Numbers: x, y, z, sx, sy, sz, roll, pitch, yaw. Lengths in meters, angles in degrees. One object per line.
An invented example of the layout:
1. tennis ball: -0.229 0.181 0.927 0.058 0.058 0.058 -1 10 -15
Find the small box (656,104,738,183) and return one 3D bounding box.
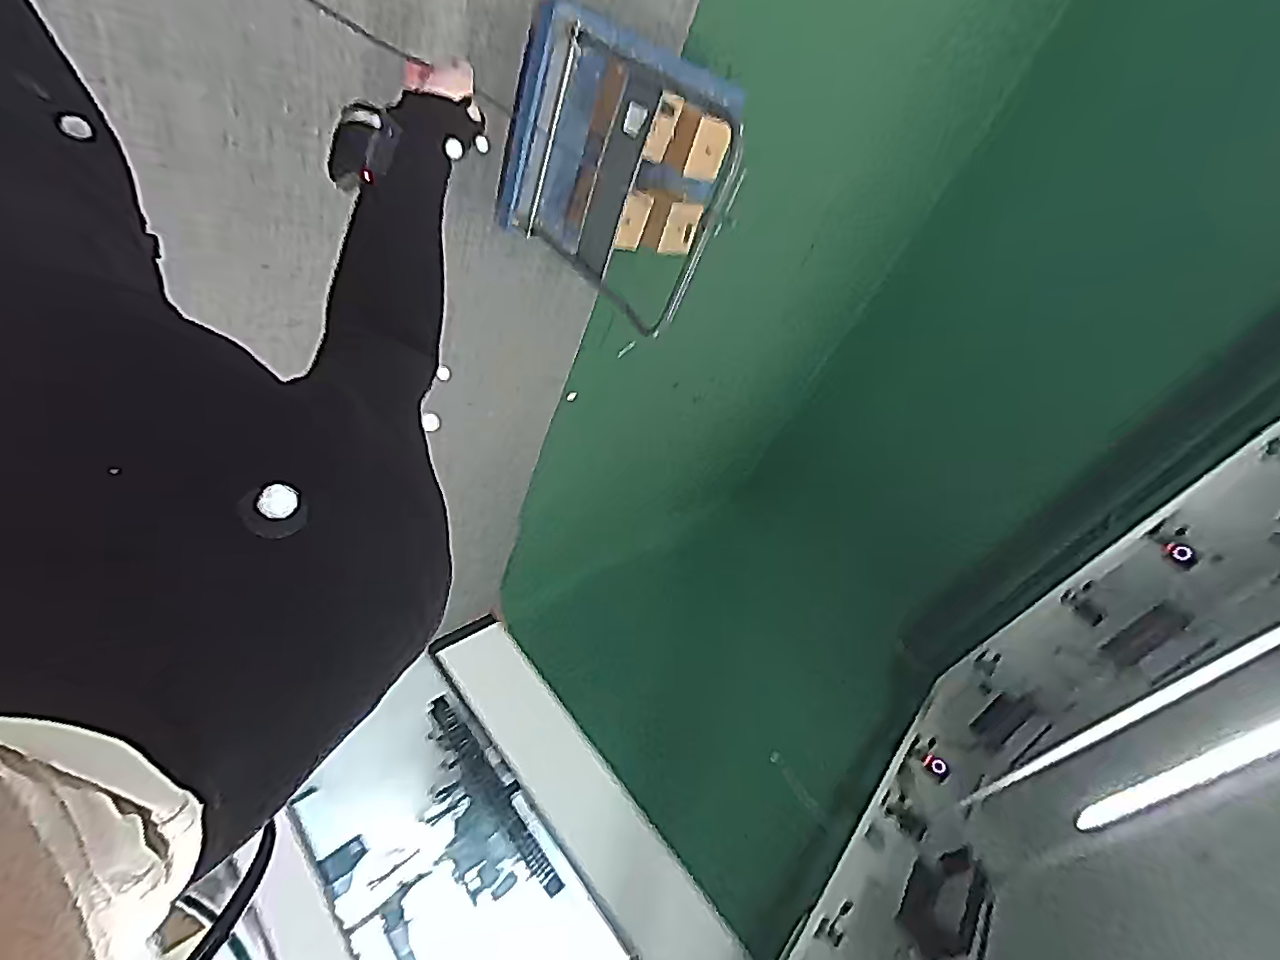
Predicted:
1. small box: 0.179 -1.091 1.755 0.179 0.176 0.168 -22 147 -42

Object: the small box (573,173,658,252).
1. small box: -0.081 -0.851 1.724 0.179 0.176 0.168 -17 143 -45

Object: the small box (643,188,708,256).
1. small box: 0.102 -0.911 1.913 0.179 0.176 0.168 -20 145 -41
